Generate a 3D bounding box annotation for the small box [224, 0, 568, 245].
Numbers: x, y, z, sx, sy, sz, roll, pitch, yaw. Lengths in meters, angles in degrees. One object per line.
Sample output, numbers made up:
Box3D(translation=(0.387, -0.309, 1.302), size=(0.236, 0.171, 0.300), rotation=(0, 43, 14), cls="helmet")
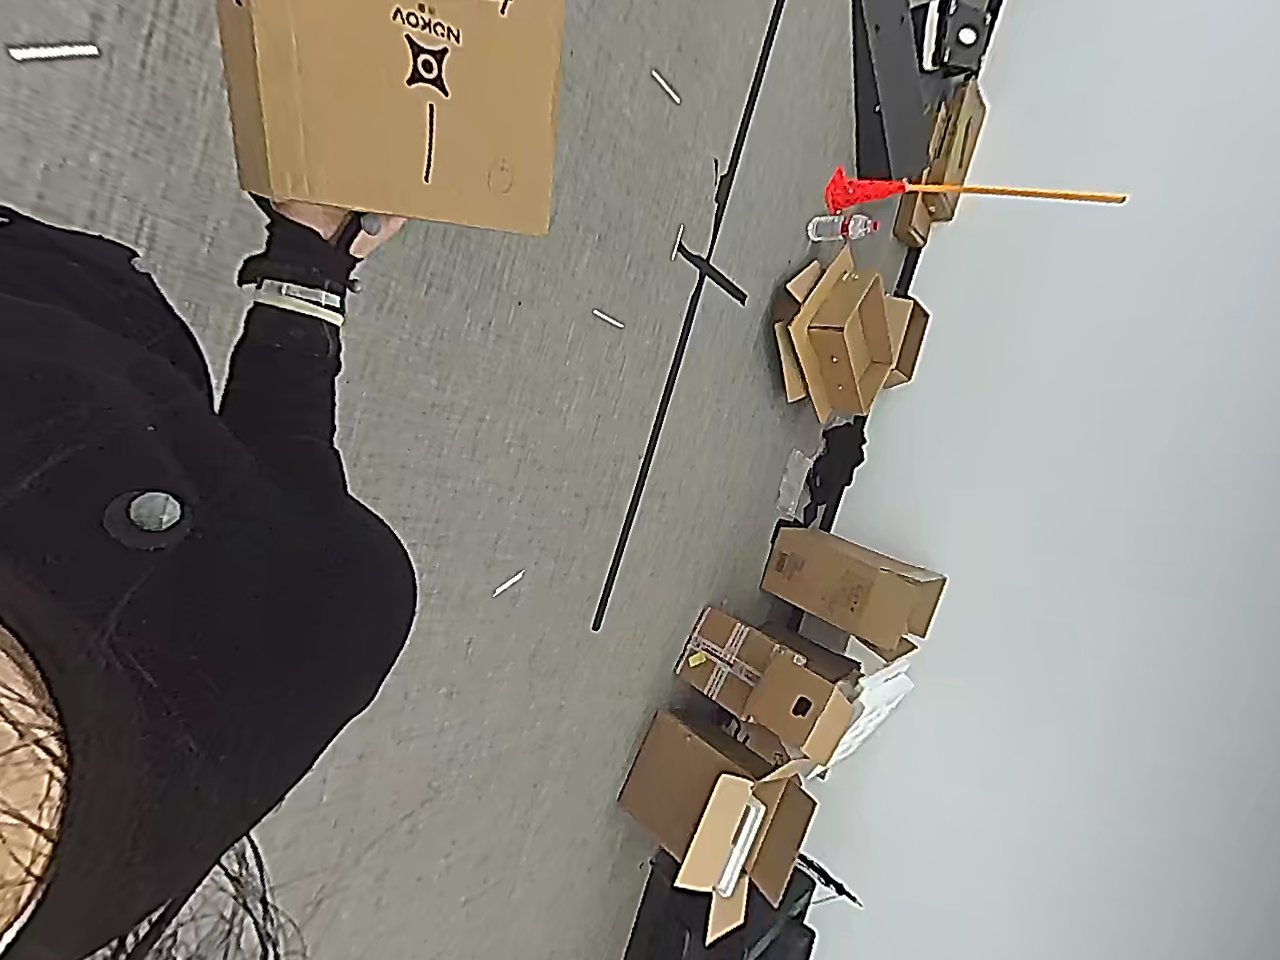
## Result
Box3D(translation=(-0.166, -0.270, 0.363), size=(0.168, 0.176, 0.179), rotation=(-10, 121, -38), cls="small box")
